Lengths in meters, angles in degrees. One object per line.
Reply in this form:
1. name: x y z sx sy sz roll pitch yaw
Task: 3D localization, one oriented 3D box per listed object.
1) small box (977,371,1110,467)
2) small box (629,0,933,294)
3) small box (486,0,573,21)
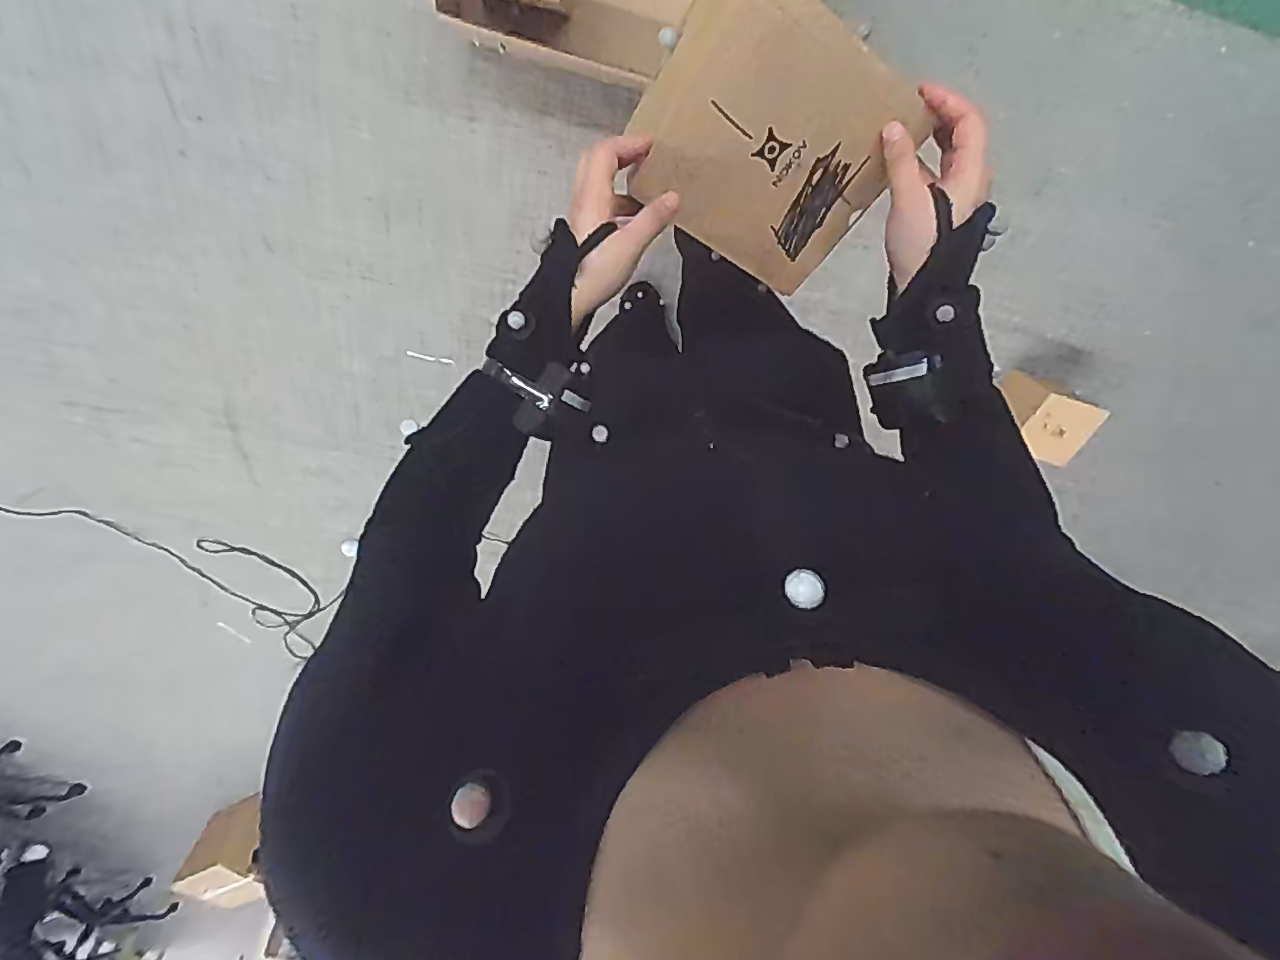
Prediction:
1. small box: 1.024 -0.161 1.389 0.179 0.176 0.168 15 122 -9
2. small box: 0.104 -0.306 0.471 0.179 0.176 0.168 22 131 -23
3. small box: -0.189 -0.871 0.863 0.168 0.176 0.179 8 124 -5
